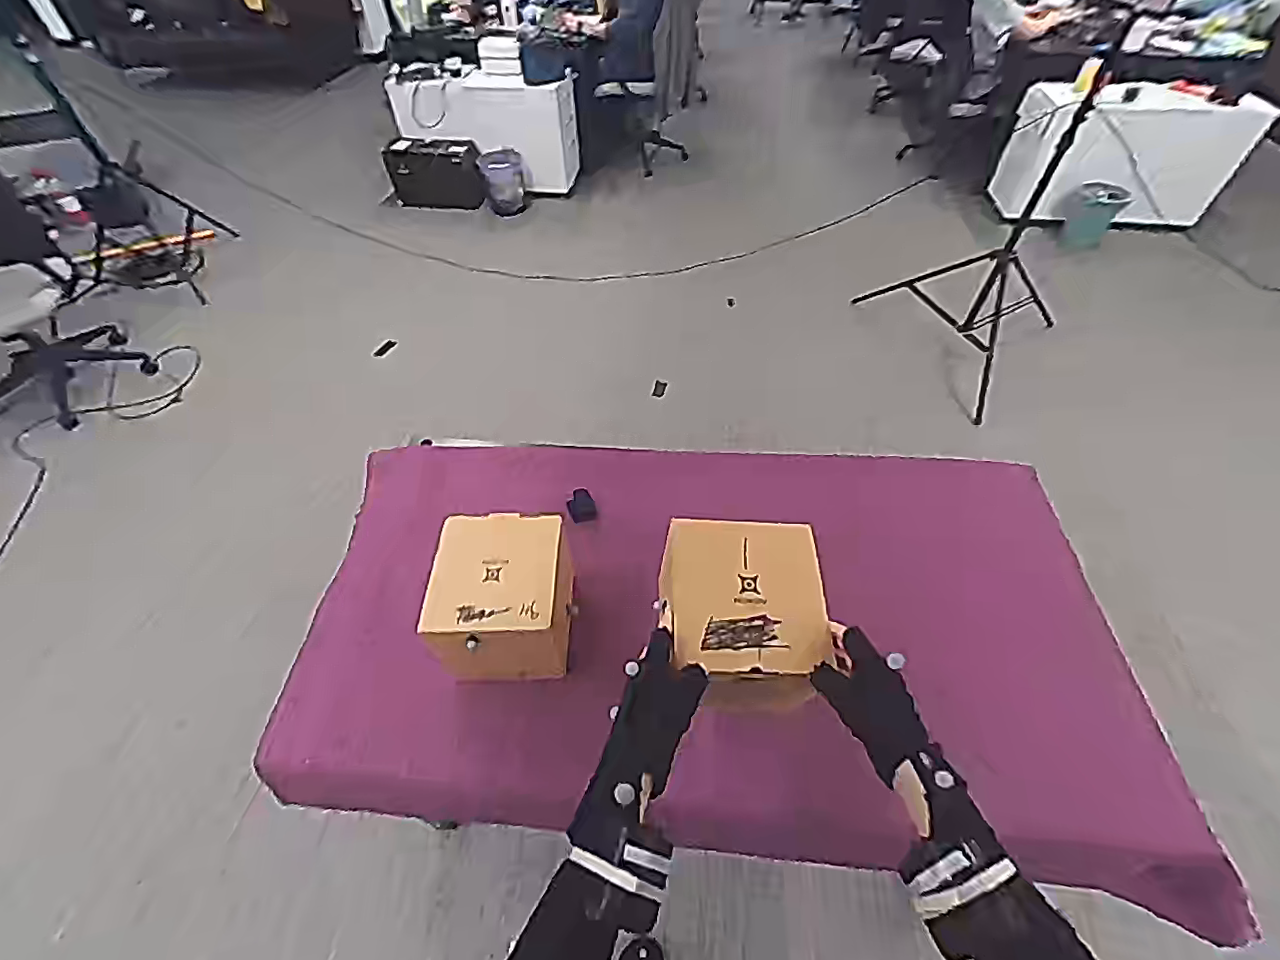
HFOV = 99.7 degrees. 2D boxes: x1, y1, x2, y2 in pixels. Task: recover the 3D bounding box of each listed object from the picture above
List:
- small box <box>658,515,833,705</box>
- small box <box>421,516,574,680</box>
[{"bbox_3d":[0.112,0.162,0.652,0.168,0.176,0.179,3,55,-2],"label":"small box"},{"bbox_3d":[-0.188,0.170,0.777,0.168,0.176,0.179,-1,49,0],"label":"small box"}]
